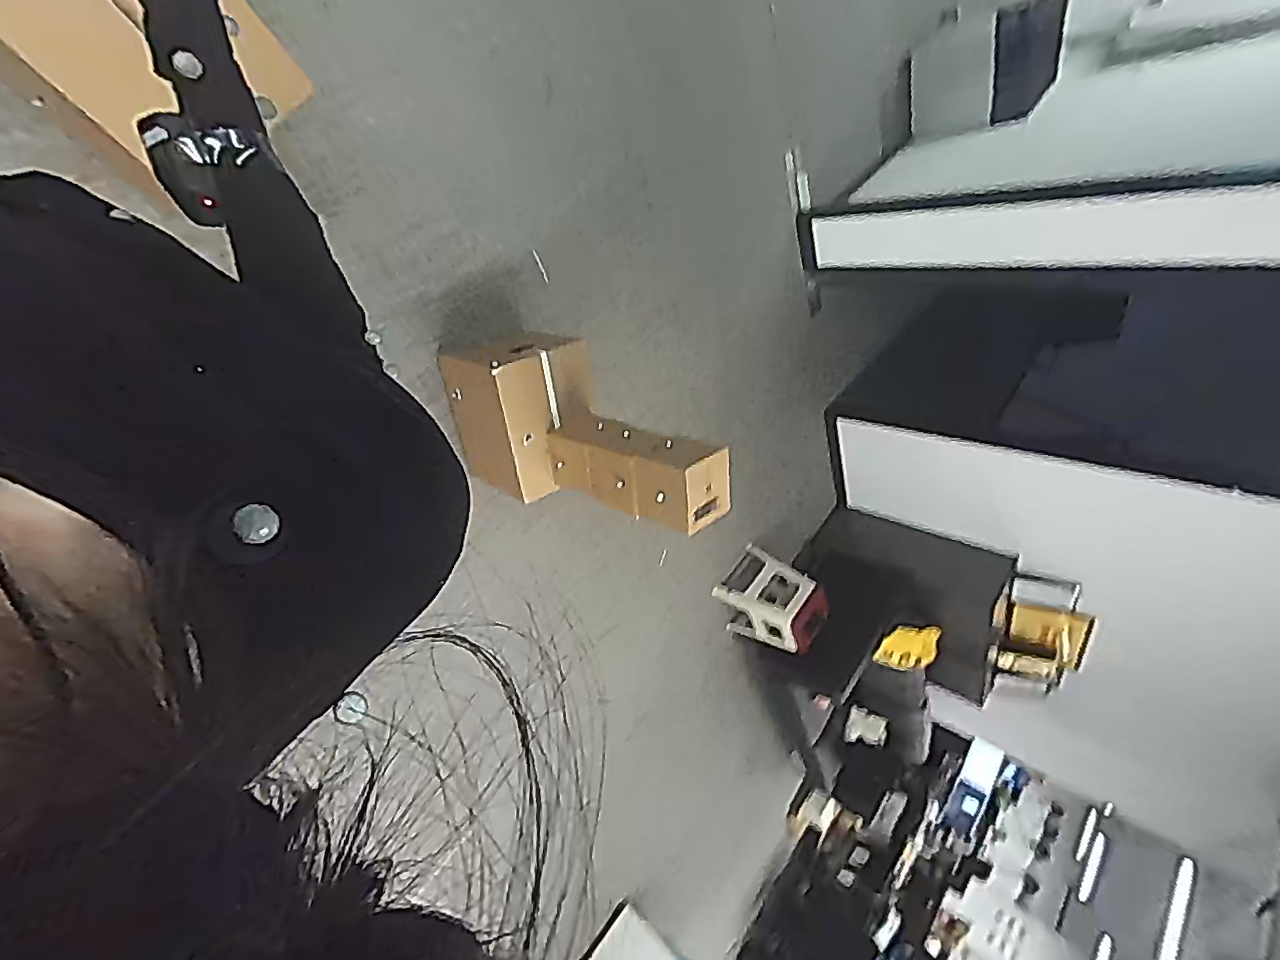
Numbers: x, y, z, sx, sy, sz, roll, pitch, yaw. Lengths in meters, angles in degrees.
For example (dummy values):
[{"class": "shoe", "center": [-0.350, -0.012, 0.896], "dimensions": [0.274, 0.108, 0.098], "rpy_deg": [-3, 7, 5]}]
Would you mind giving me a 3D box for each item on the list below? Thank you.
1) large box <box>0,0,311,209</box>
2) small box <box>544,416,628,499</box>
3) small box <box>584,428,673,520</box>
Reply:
[{"class": "large box", "center": [-0.859, -0.729, 0.889], "dimensions": [0.320, 0.320, 0.408], "rpy_deg": [-56, 136, -16]}, {"class": "small box", "center": [-0.148, -0.072, 1.541], "dimensions": [0.179, 0.176, 0.168], "rpy_deg": [-28, 124, -38]}, {"class": "small box", "center": [-0.030, -0.023, 1.440], "dimensions": [0.168, 0.176, 0.179], "rpy_deg": [-27, 123, -39]}]
